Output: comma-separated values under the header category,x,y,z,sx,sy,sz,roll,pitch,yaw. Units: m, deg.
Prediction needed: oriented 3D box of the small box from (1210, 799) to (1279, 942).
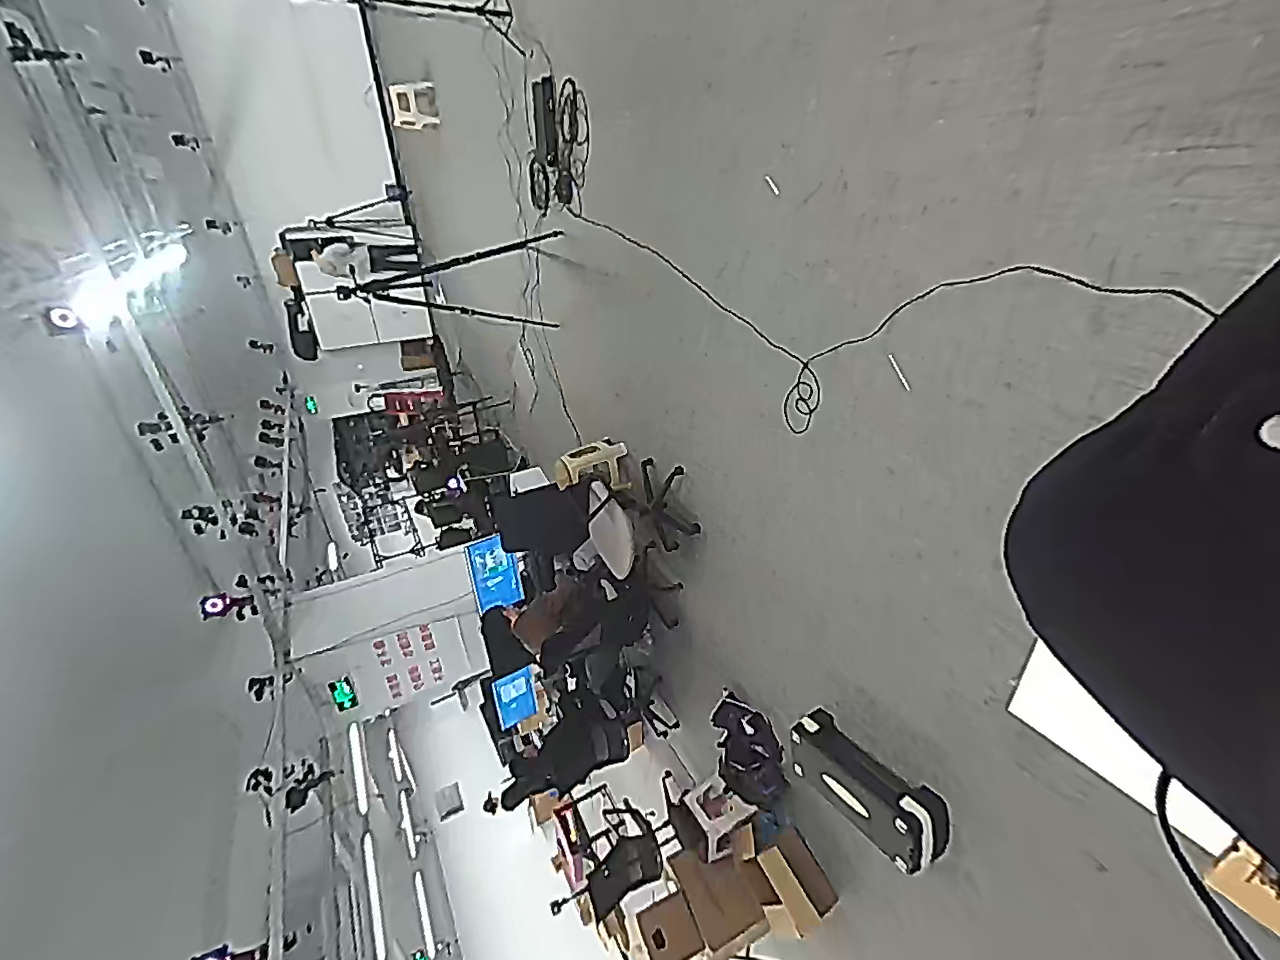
category,x,y,z,sx,sy,sz,roll,pitch,yaw
small box,0.880,0.495,0.660,0.179,0.176,0.168,38,138,51
